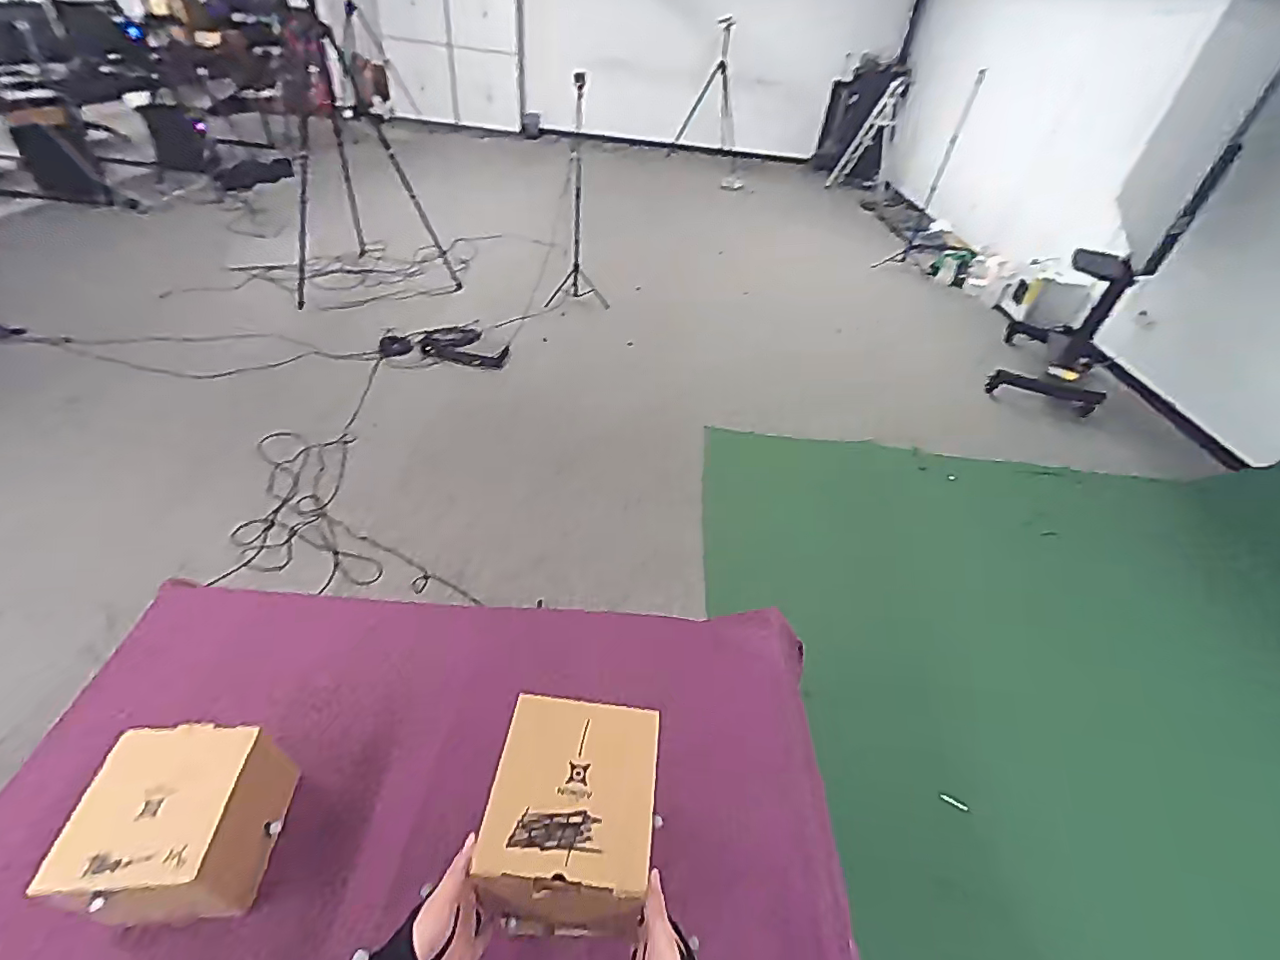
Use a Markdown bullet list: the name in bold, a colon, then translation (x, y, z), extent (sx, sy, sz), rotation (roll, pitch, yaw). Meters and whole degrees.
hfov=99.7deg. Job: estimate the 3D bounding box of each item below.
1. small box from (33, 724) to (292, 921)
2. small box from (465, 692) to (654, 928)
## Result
- **small box**: translation (-0.590, 0.443, 0.706), extent (0.168, 0.176, 0.179), rotation (1, 42, -7)
- **small box**: translation (-0.078, 0.371, 0.608), extent (0.168, 0.176, 0.179), rotation (7, 40, 1)
